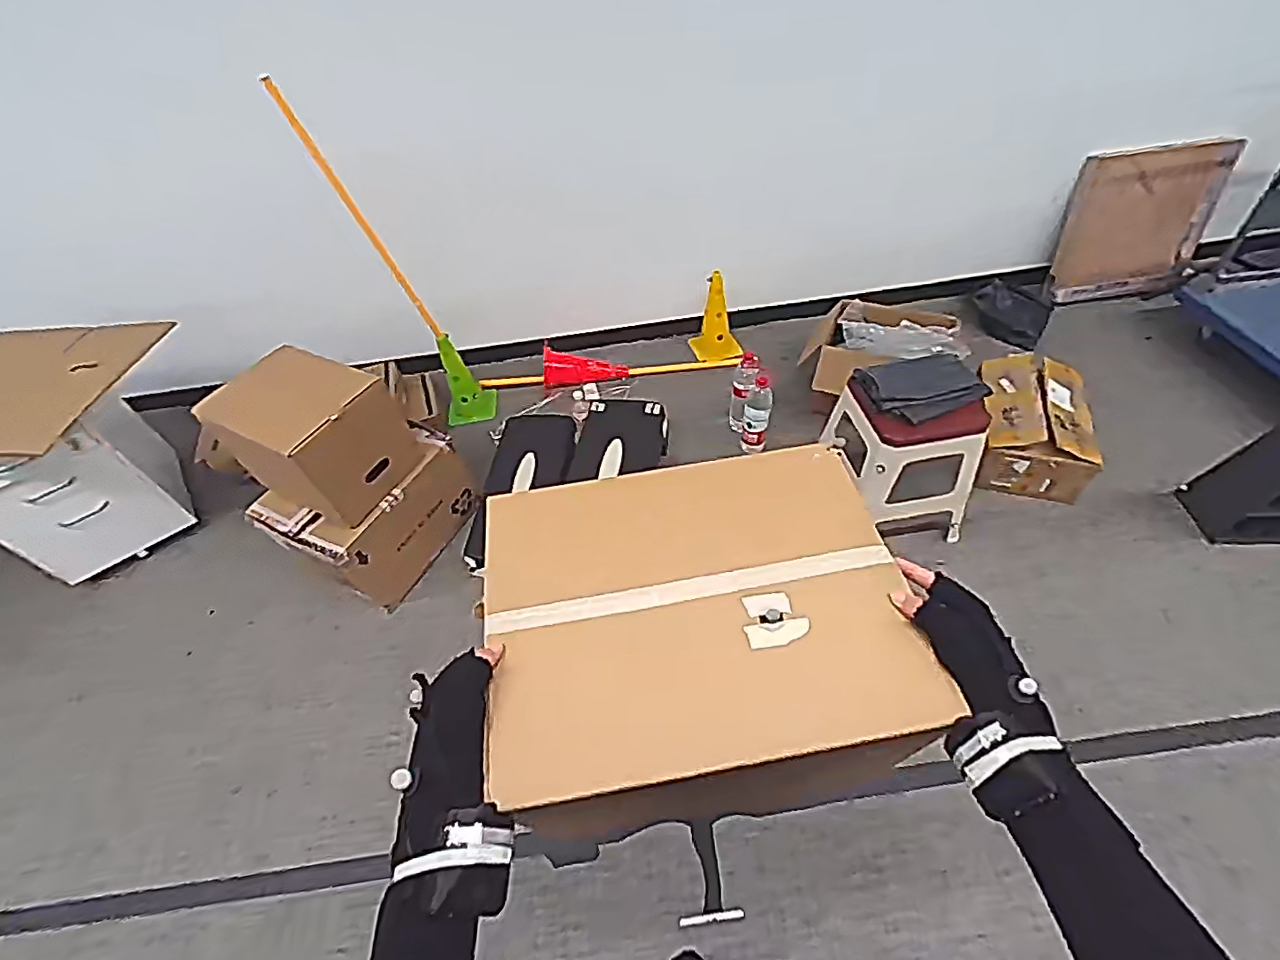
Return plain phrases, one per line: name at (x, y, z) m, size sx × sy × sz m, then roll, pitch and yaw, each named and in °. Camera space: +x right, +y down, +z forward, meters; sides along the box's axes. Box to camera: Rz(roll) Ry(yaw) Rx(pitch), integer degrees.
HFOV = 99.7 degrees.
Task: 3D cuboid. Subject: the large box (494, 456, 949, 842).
large box at (0.058, 0.213, 0.663) m, size 0.408 × 0.320 × 0.320 m, roll -9°, pitch 53°, yaw -3°
